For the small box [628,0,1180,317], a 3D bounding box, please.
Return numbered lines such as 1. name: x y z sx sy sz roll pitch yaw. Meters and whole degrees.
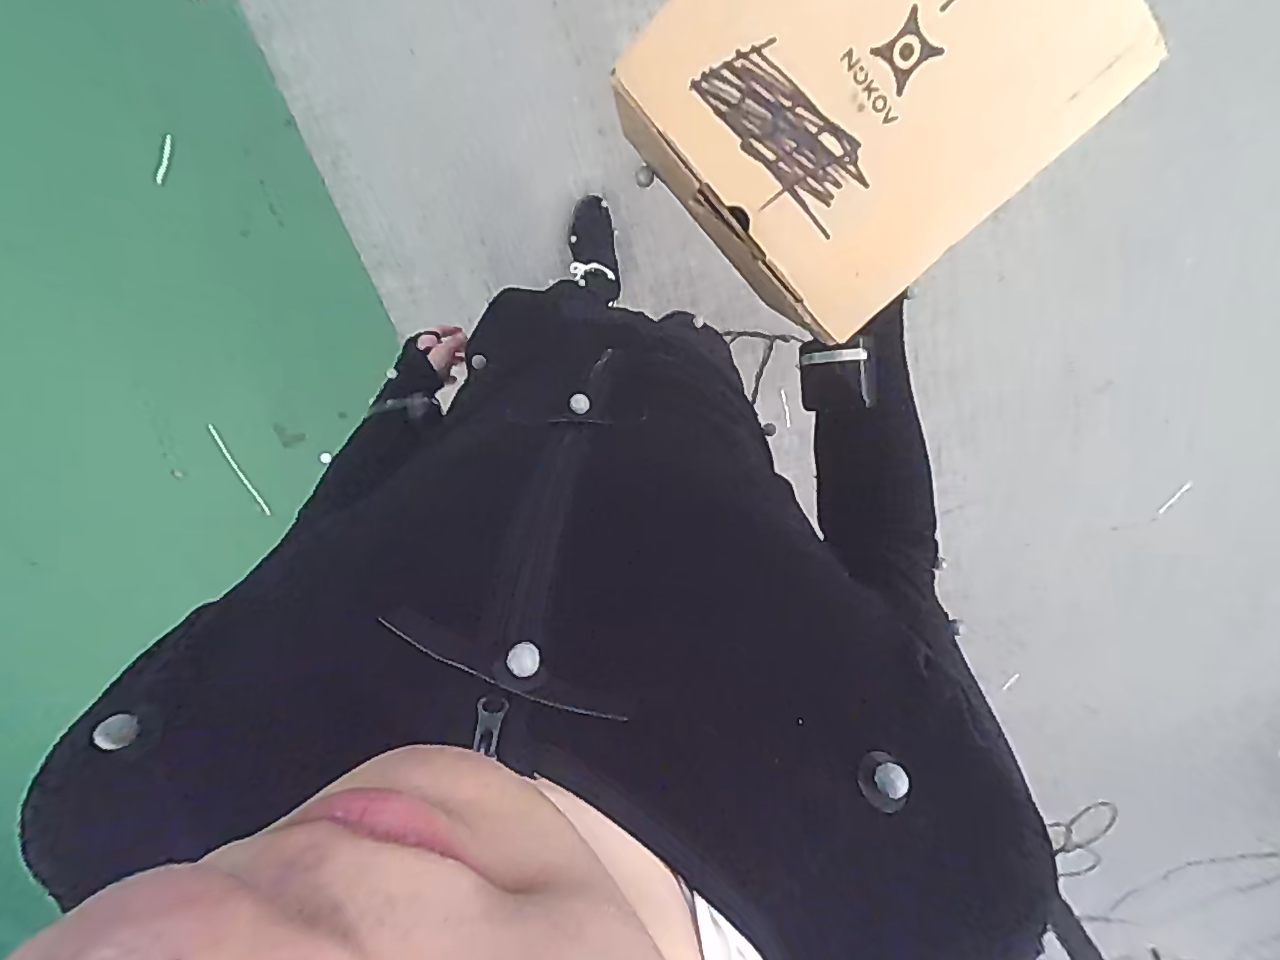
1. small box: 0.113 -0.221 0.303 0.179 0.176 0.168 -42 108 17
